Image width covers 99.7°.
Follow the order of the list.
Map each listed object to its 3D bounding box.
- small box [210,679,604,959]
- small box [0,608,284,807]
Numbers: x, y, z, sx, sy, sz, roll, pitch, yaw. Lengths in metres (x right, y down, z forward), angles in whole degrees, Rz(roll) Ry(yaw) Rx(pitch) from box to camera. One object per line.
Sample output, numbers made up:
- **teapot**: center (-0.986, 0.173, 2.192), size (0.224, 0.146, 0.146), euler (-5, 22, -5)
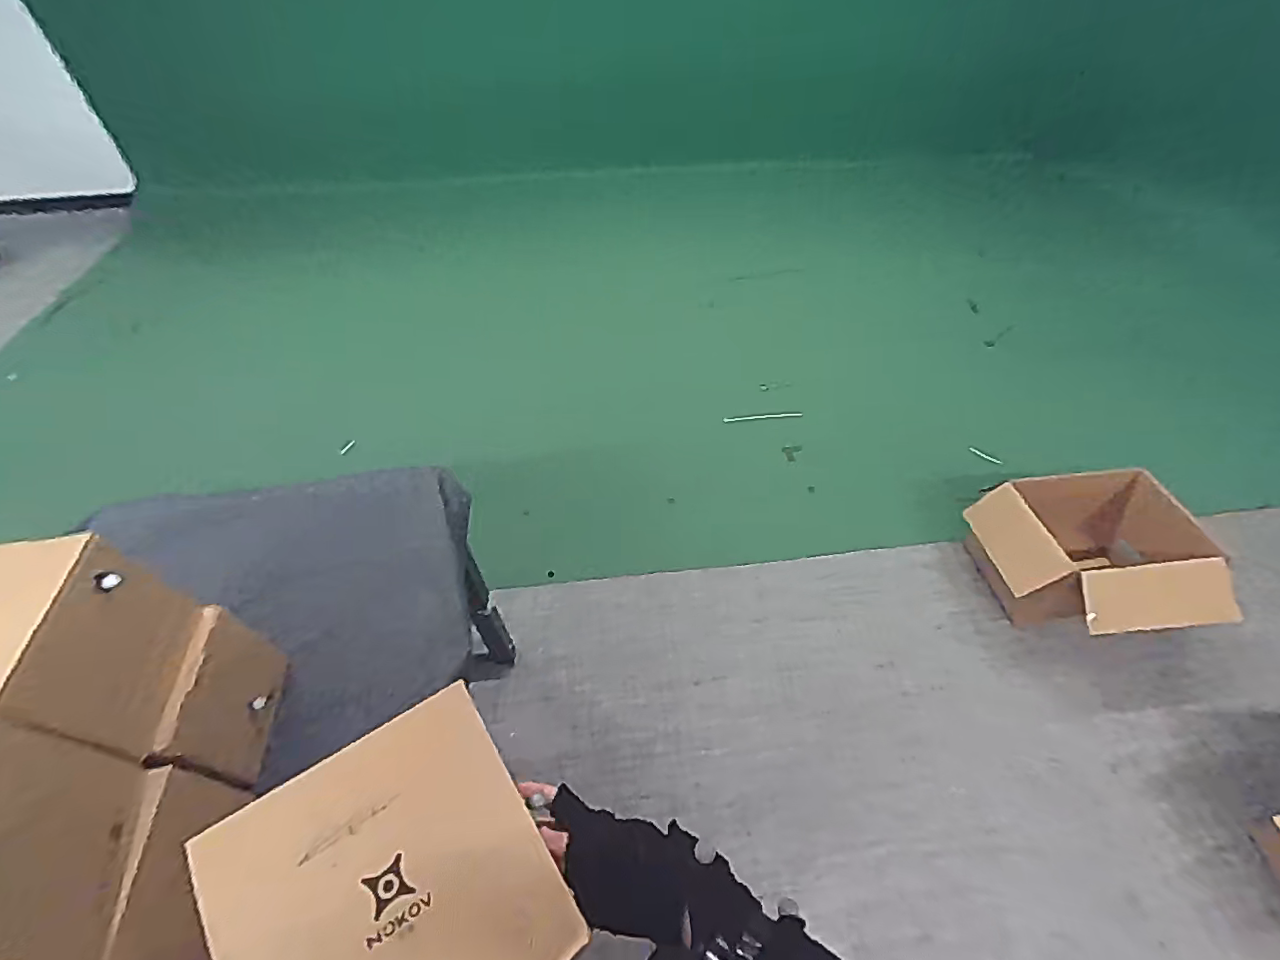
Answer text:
- **small box**: center (-0.144, 0.274, 0.372), size (0.168, 0.176, 0.179), euler (-25, 64, -27)
- **small box**: center (-0.578, 0.276, 0.649), size (0.179, 0.176, 0.168), euler (-7, 51, -6)
